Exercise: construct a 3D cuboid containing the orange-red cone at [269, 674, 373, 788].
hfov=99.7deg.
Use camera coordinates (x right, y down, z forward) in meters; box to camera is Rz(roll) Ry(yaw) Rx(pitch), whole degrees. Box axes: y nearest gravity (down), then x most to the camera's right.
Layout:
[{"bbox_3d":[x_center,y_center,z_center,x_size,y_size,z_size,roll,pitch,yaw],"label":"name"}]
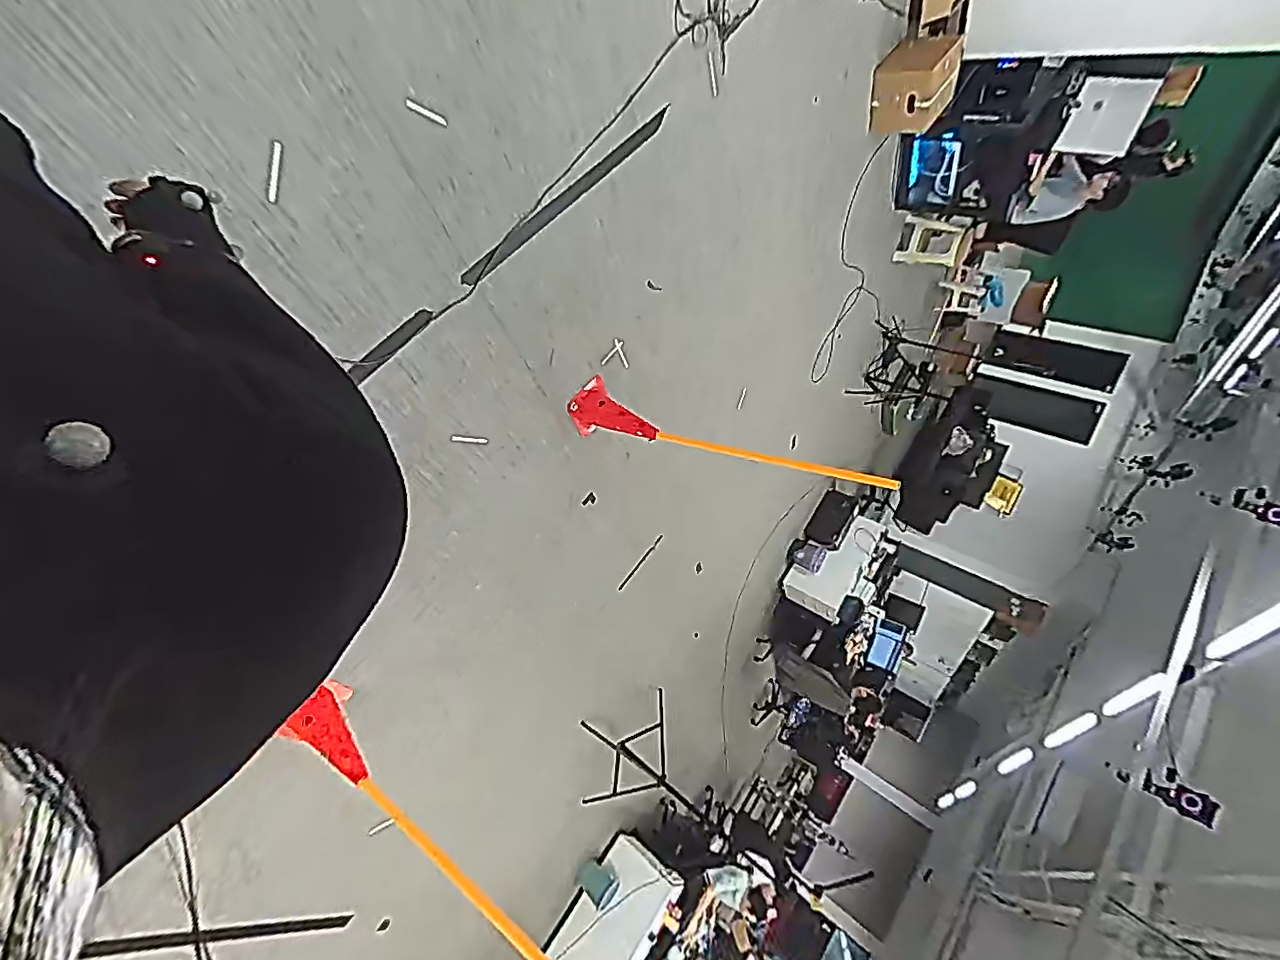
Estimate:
[{"bbox_3d":[-0.900,0.785,1.615,0.199,0.360,0.198,-48,144,-22],"label":"orange-red cone"}]
